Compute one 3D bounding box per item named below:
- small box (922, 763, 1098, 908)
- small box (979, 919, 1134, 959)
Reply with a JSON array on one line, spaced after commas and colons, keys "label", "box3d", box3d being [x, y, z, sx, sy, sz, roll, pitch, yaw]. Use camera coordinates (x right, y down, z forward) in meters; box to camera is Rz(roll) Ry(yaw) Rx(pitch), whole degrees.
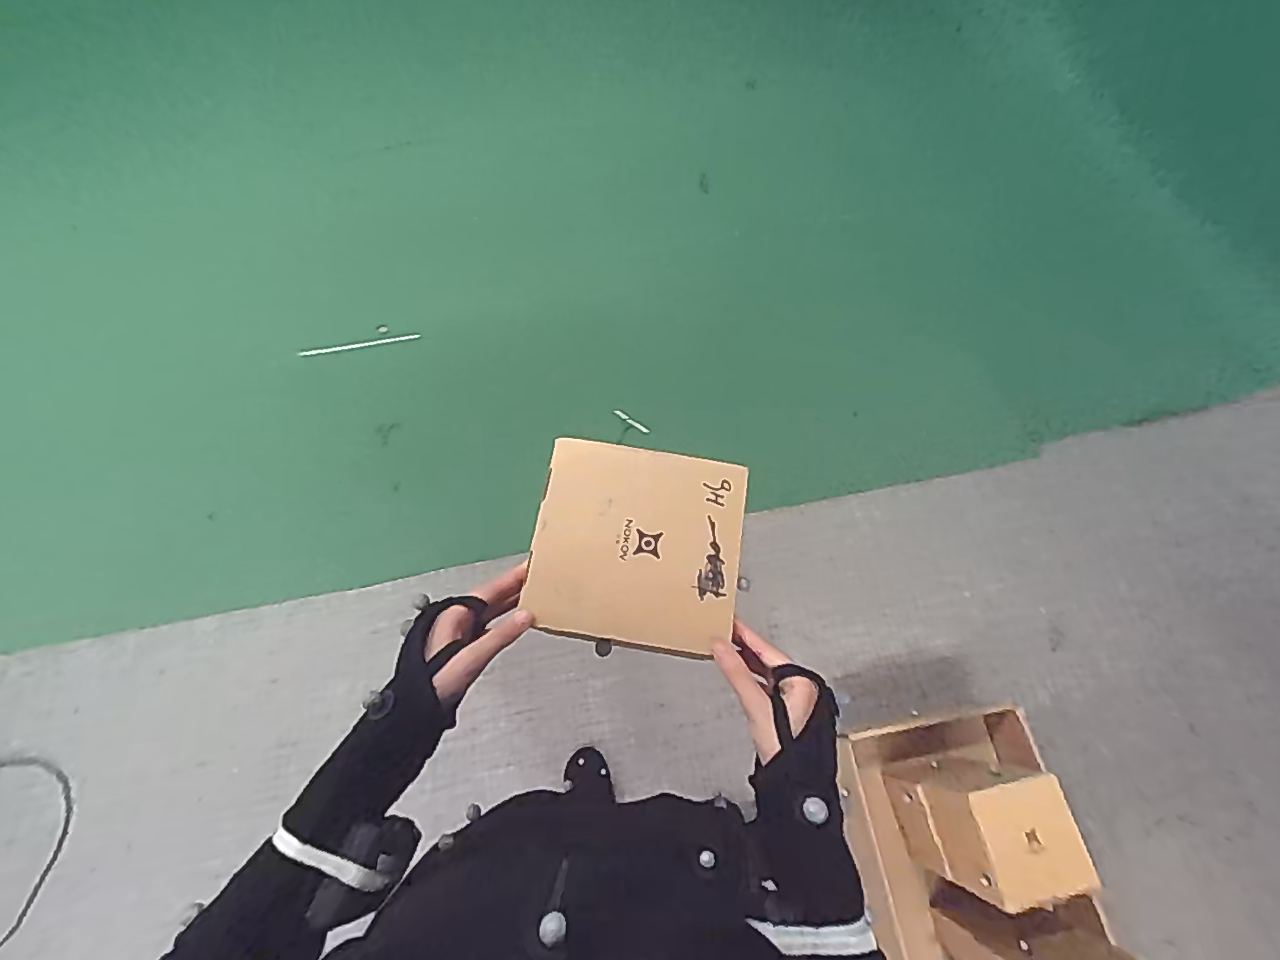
[{"label": "small box", "box3d": [0.649, 0.624, 0.977, 0.168, 0.176, 0.179, -11, 69, -4]}, {"label": "small box", "box3d": [0.694, 0.855, 0.880, 0.179, 0.176, 0.168, -8, 68, -3]}]
